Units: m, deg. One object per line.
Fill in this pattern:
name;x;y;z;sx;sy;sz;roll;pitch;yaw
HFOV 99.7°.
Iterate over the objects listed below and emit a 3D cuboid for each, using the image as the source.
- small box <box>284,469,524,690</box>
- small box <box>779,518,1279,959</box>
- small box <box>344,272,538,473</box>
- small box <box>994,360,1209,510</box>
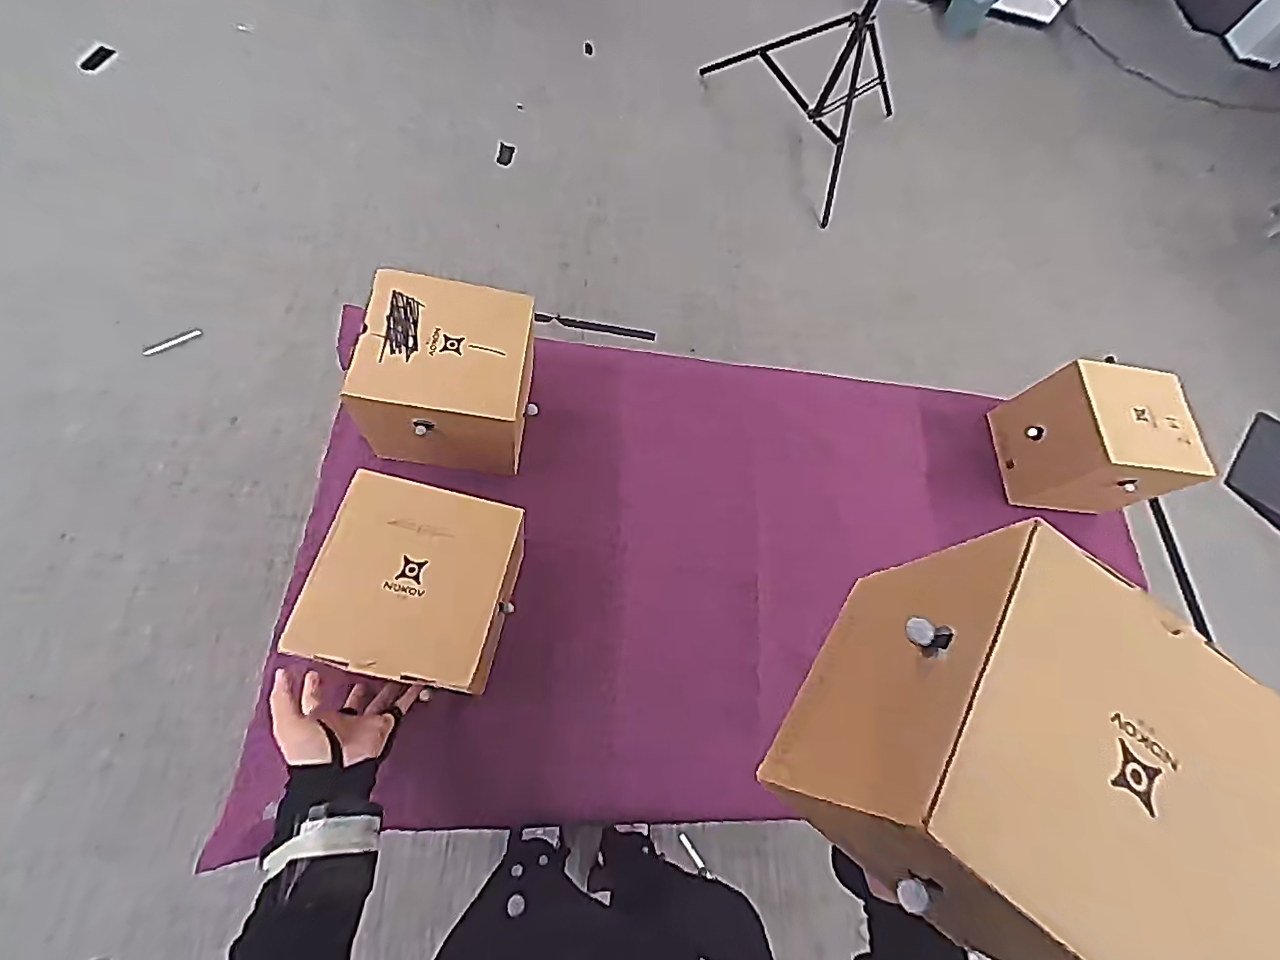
small box;-0.224;0.116;0.571;0.168;0.176;0.179;15;65;-7
small box;0.208;0.159;0.320;0.168;0.176;0.179;38;64;4
small box;-0.226;-0.119;0.661;0.179;0.176;0.168;8;68;-10
small box;0.681;-0.060;0.828;0.179;0.176;0.168;6;68;-10
